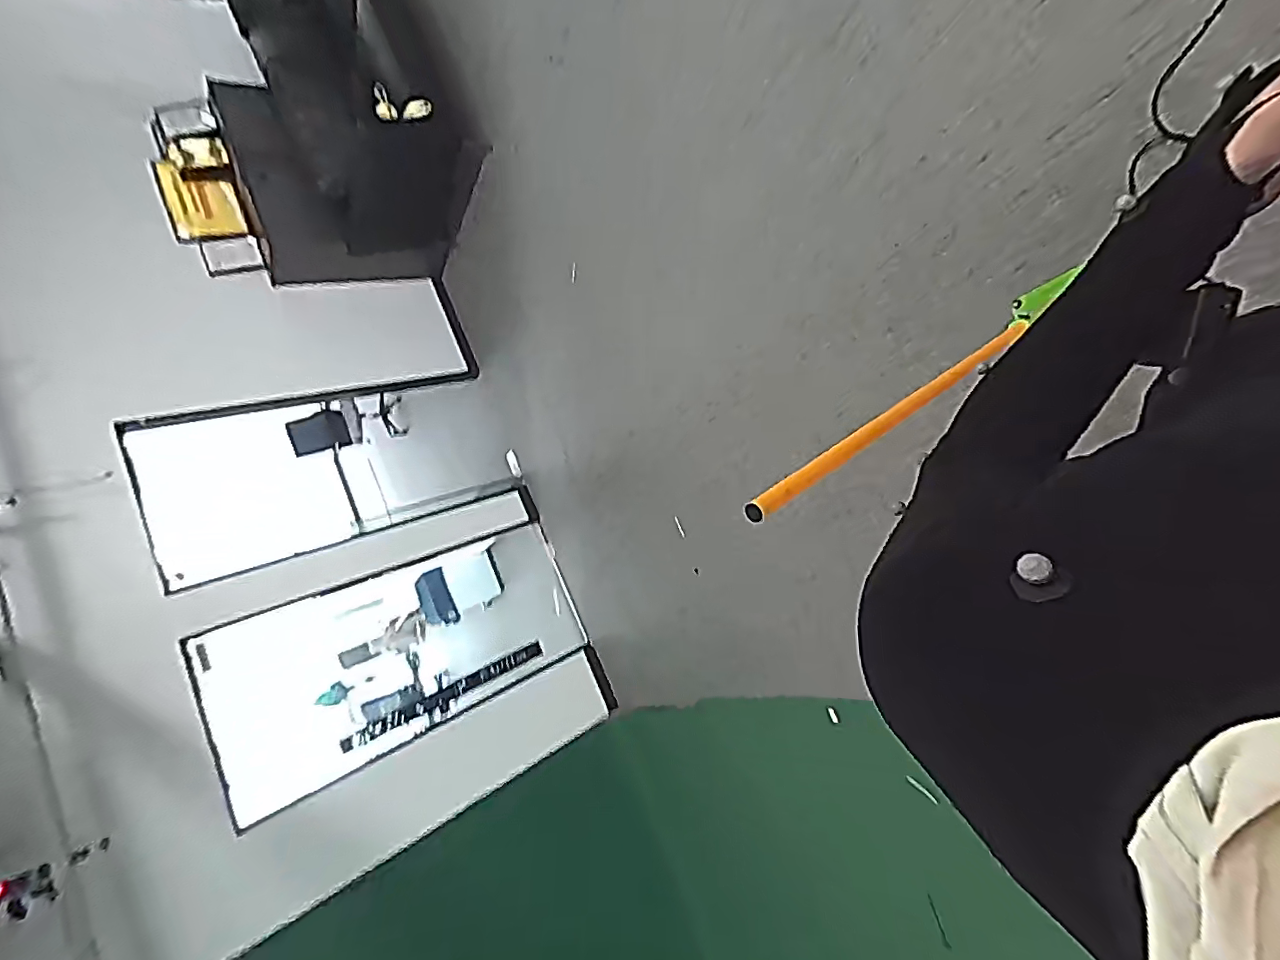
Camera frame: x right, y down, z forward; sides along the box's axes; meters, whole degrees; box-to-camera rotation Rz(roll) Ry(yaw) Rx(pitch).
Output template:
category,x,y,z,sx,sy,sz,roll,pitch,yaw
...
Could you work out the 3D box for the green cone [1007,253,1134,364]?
category,x,y,z,sx,sy,sz,roll,pitch,yaw
green cone,0.888,-0.357,1.185,0.202,0.368,0.200,-30,82,52
